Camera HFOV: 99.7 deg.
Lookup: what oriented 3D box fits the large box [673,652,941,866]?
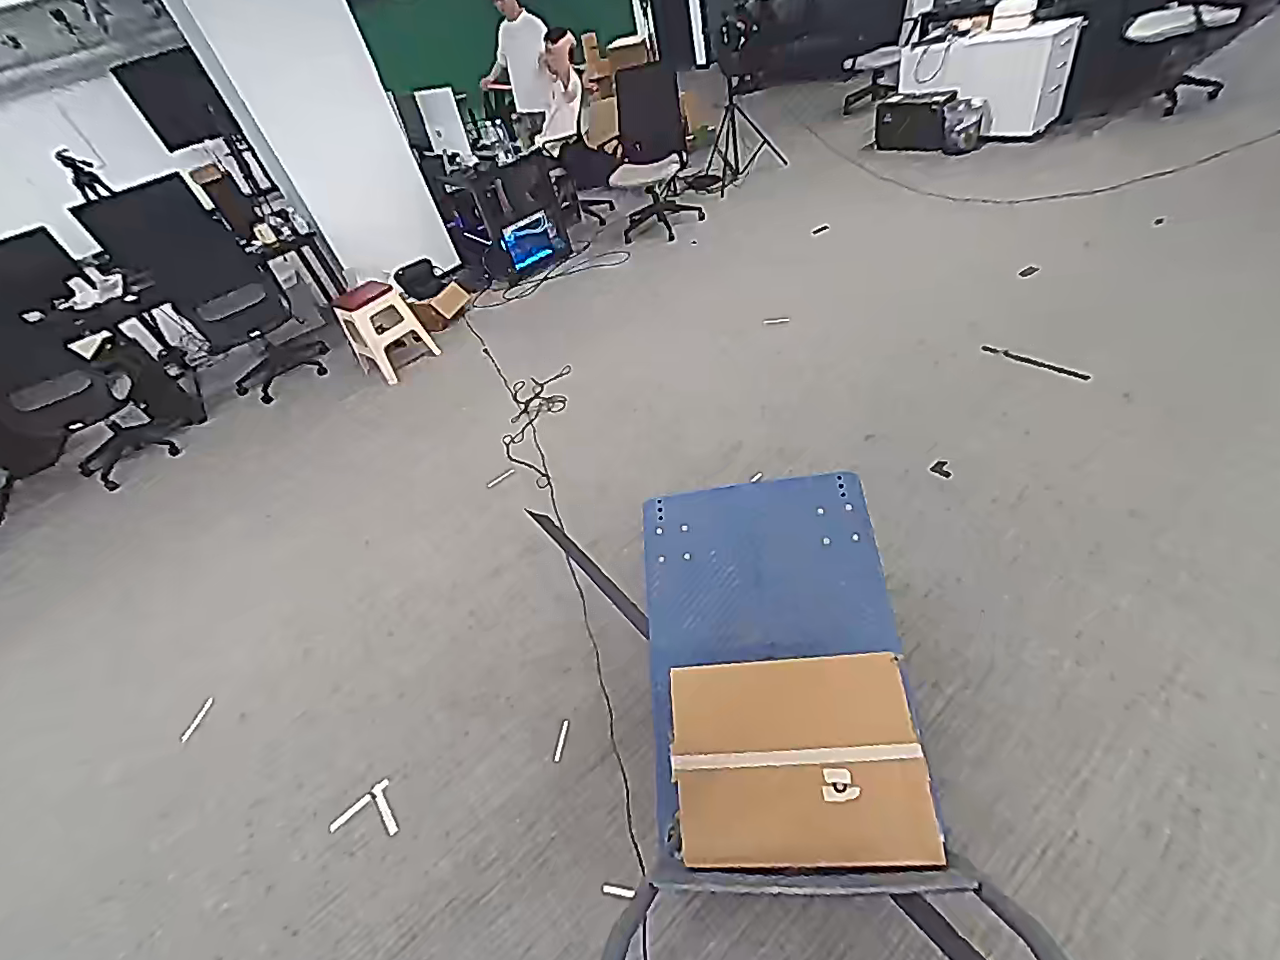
[{"bbox_3d":[0.295,0.536,1.062,0.408,0.320,0.320,-8,64,10],"label":"large box"}]
